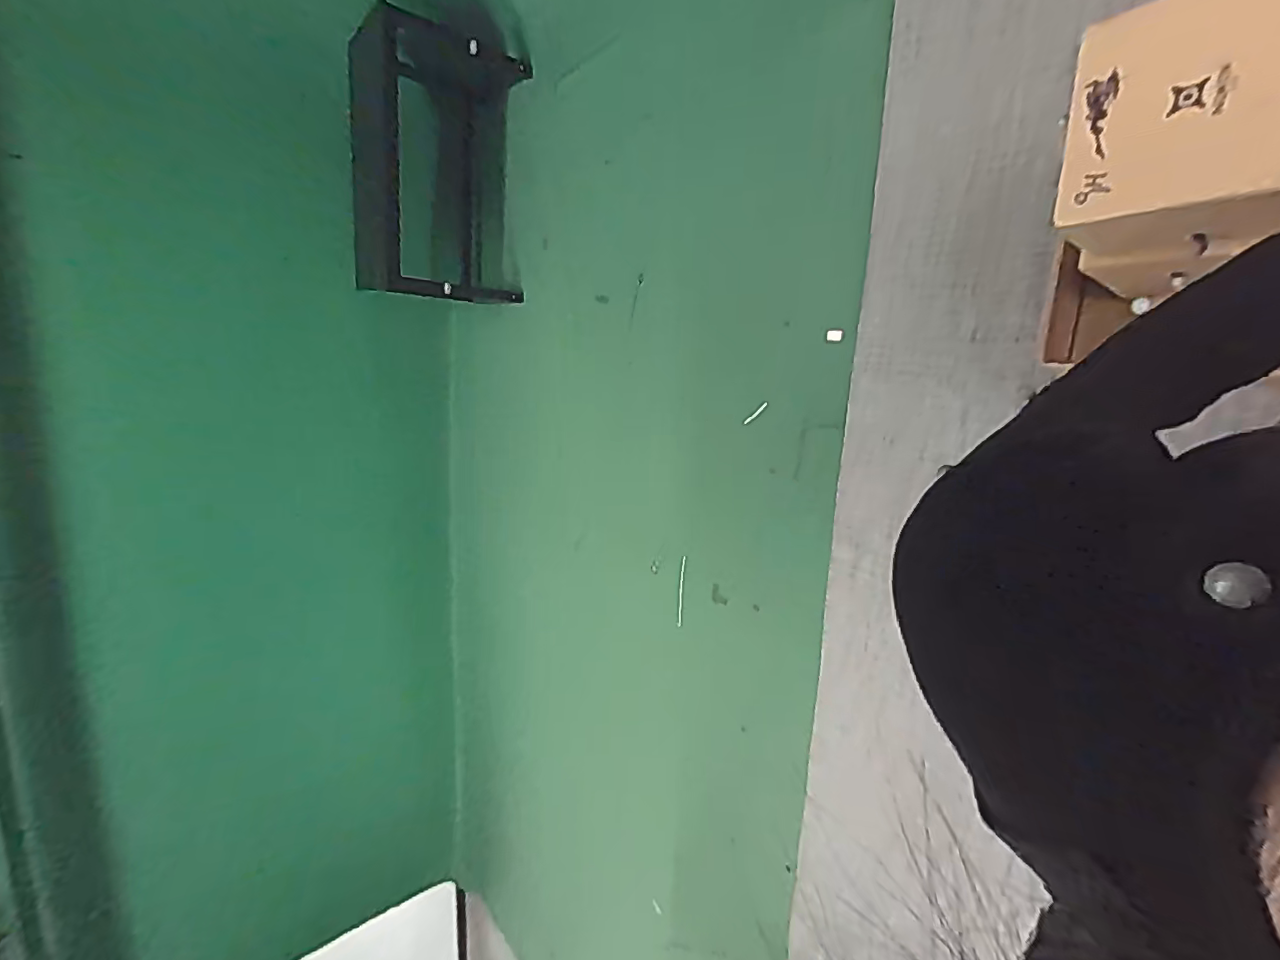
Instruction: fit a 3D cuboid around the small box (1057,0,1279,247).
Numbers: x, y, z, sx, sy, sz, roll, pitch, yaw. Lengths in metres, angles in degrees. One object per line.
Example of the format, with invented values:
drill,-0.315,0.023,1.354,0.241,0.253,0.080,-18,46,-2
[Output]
small box,0.501,-0.313,0.468,0.179,0.176,0.168,13,105,49
